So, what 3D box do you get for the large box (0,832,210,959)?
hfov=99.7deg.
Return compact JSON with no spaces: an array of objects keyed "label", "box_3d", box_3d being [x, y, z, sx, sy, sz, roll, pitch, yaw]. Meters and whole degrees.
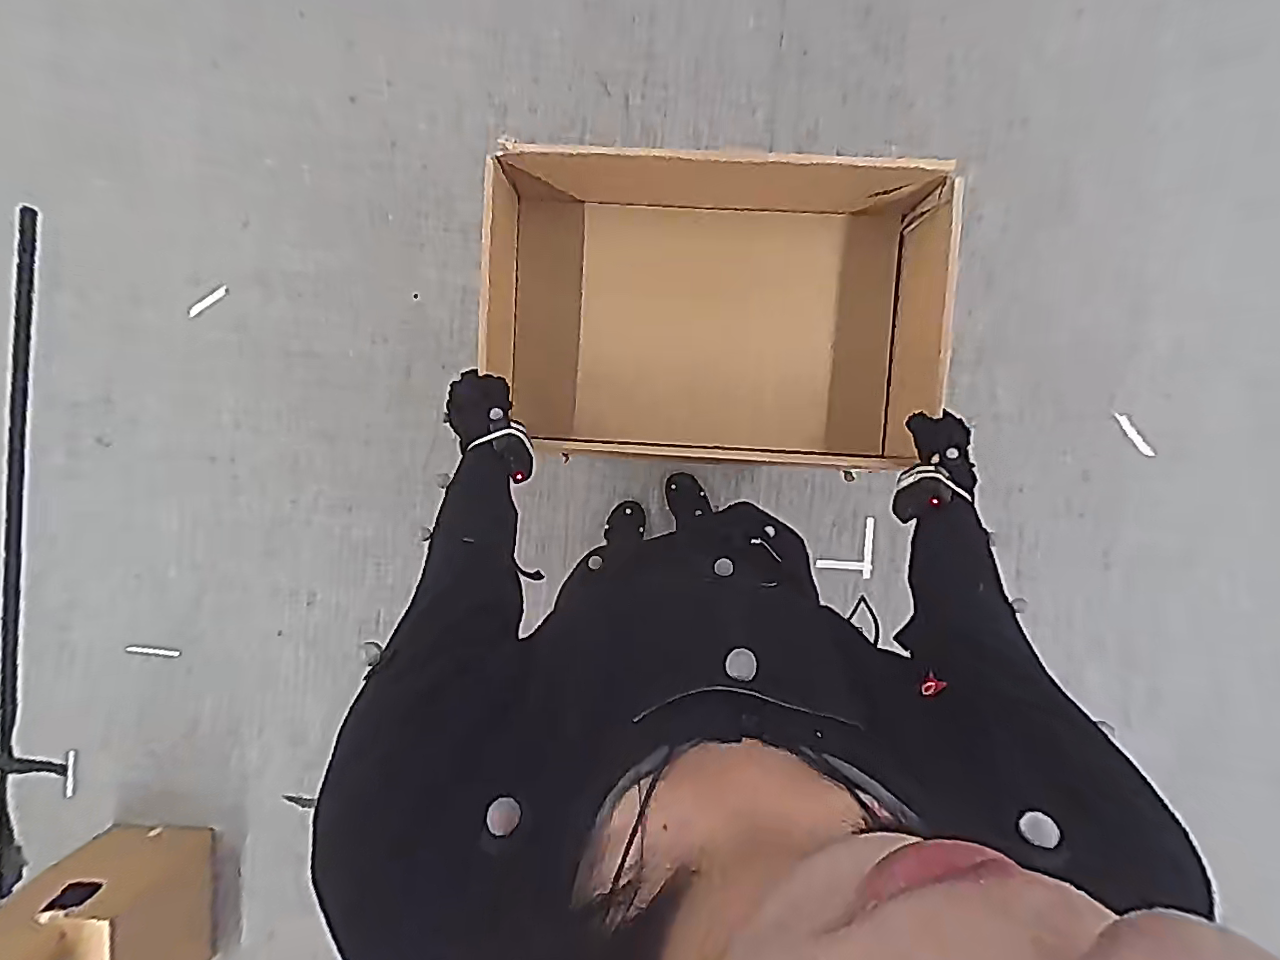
[{"label":"large box","box_3d":[-1.407,1.227,1.427,0.320,0.320,0.408,1,92,0]}]
